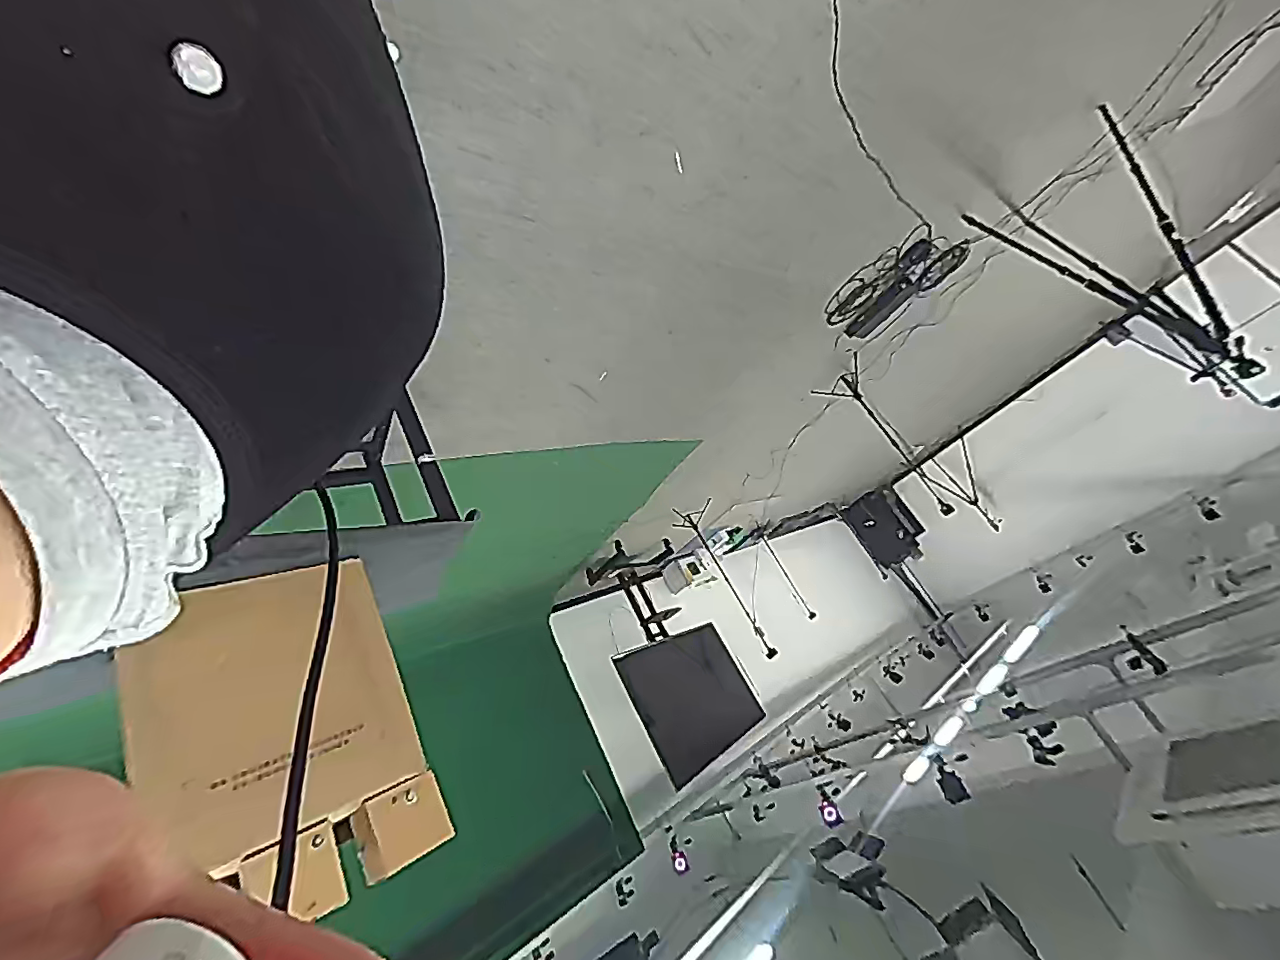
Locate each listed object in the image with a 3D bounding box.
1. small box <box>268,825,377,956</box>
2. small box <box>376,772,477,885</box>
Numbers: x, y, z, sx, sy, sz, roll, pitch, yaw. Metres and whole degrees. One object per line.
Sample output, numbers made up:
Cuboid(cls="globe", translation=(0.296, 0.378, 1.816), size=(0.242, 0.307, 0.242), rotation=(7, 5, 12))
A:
Cuboid(cls="small box", translation=(-0.706, 0.900, 1.196), size=(0.168, 0.176, 0.179), rotation=(-10, 151, -42))
Cuboid(cls="small box", translation=(-0.541, 0.866, 1.355), size=(0.168, 0.176, 0.179), rotation=(-12, 151, -45))
